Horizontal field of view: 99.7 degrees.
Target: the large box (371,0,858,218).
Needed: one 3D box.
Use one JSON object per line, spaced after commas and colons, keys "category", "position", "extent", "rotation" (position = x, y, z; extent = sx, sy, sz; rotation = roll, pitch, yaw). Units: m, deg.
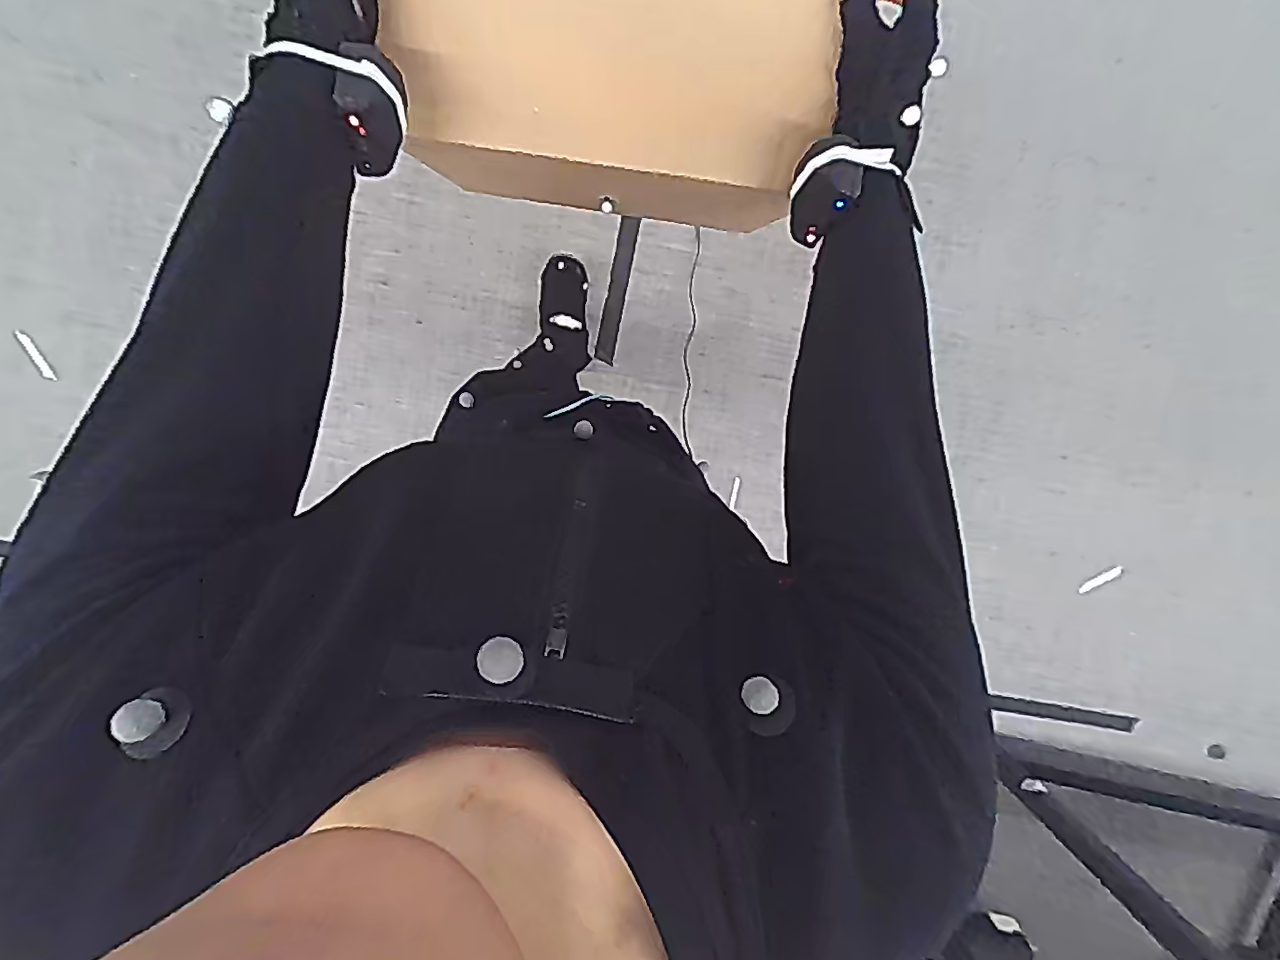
{"category": "large box", "position": [-0.016, -0.479, 0.569], "extent": [0.408, 0.320, 0.320], "rotation": [6, 108, -4]}
